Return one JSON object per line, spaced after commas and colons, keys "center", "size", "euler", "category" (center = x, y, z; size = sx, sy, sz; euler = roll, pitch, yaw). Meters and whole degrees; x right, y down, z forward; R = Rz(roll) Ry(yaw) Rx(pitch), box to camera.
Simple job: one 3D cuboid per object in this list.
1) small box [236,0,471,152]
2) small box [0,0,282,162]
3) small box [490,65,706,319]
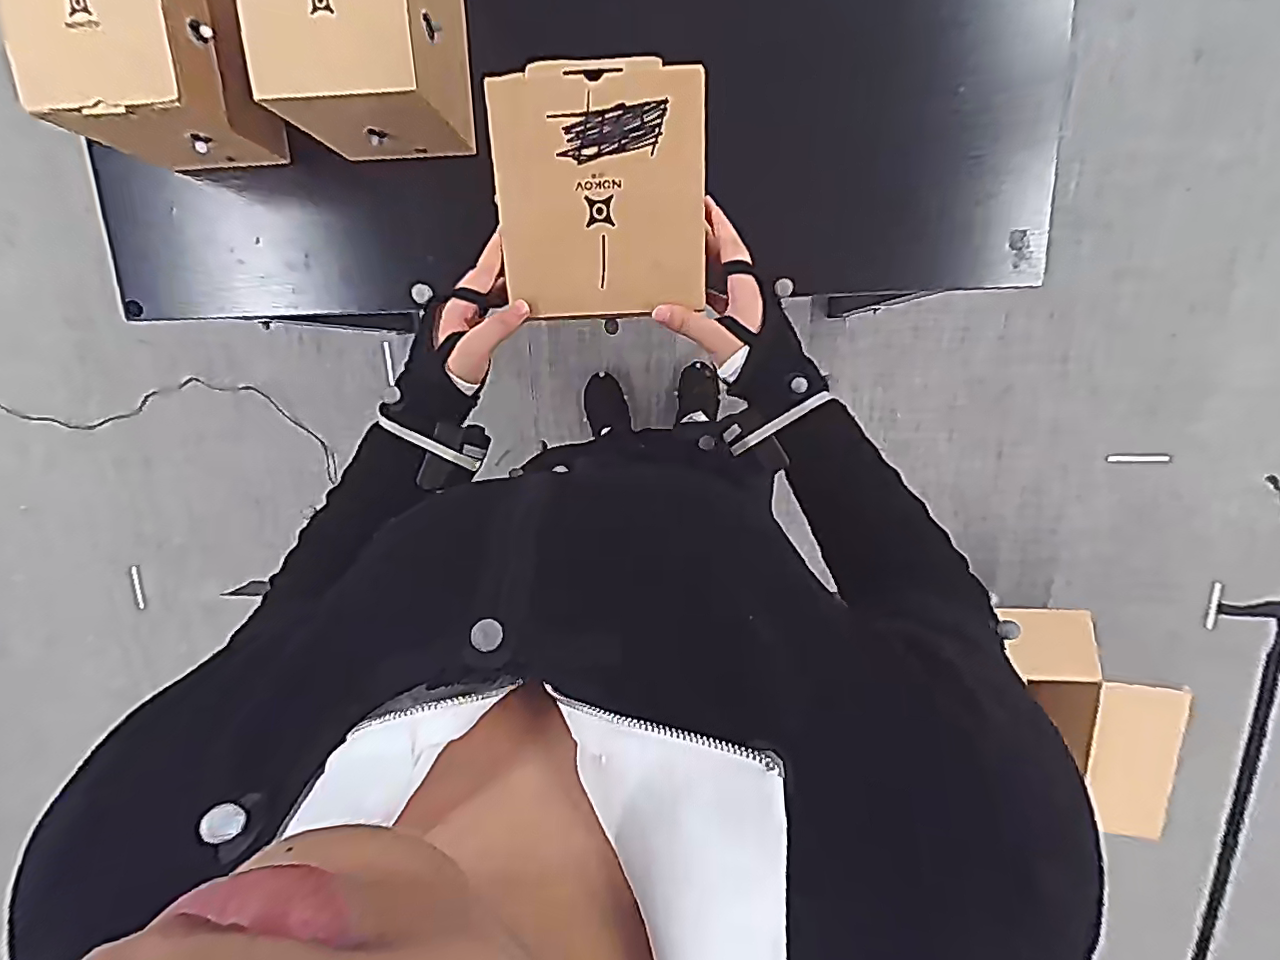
{"center": [-0.292, -0.471, 0.579], "size": [0.168, 0.176, 0.179], "euler": [-1, 102, 2], "category": "small box"}
{"center": [-0.531, -0.469, 0.593], "size": [0.168, 0.176, 0.179], "euler": [-2, 101, 2], "category": "small box"}
{"center": [-0.029, -0.244, 0.502], "size": [0.168, 0.176, 0.179], "euler": [-1, 106, 2], "category": "small box"}
